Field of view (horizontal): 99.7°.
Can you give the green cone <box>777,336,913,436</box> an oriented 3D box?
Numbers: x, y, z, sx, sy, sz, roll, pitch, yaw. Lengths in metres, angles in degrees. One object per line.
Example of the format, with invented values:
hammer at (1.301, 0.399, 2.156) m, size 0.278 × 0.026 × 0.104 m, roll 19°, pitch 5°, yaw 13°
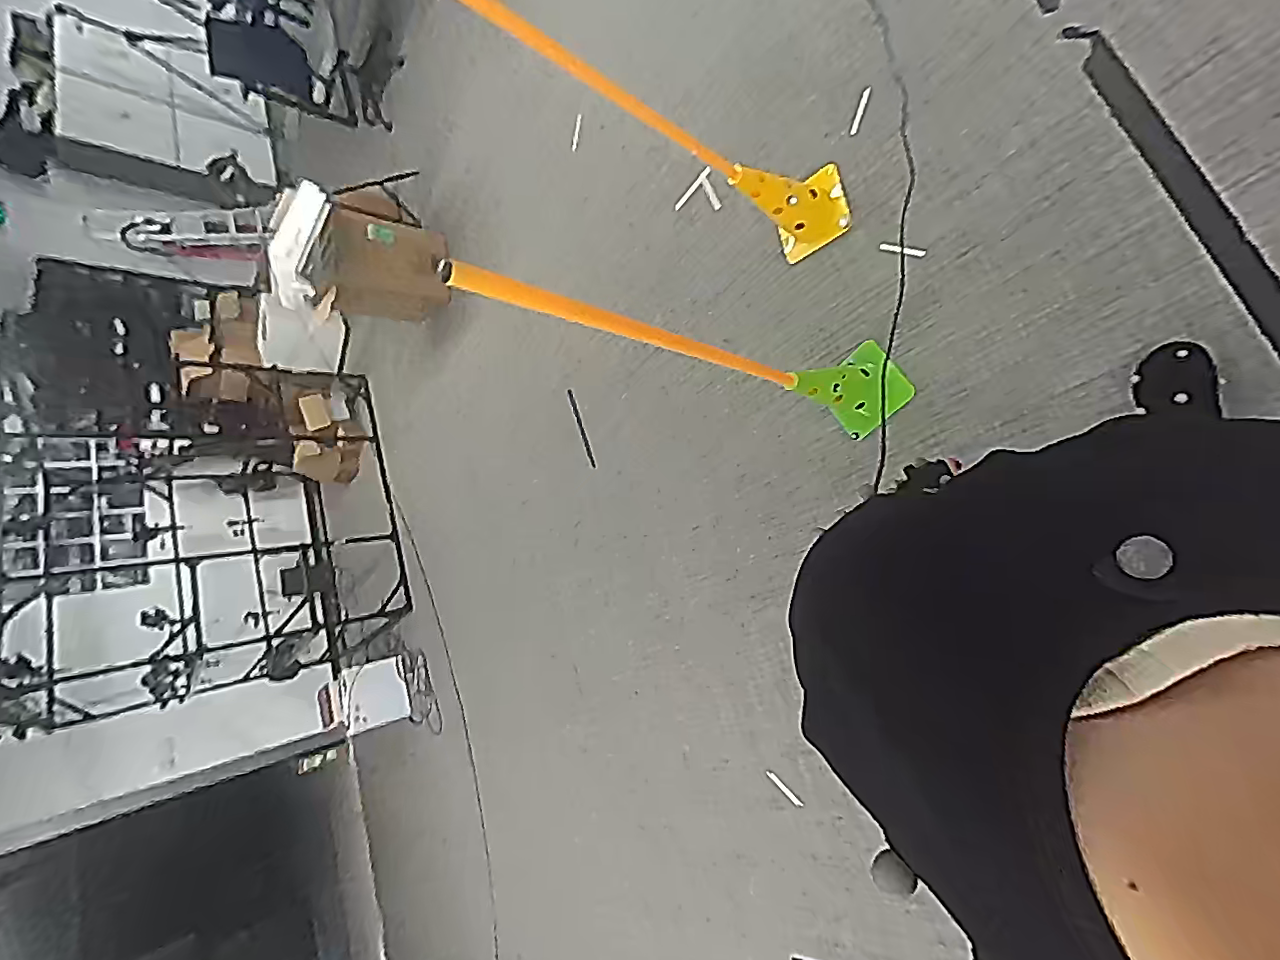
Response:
green cone at (0.452, -0.237, 1.296) m, size 0.200 × 0.368 × 0.202 m, roll -49°, pitch 57°, yaw 38°
